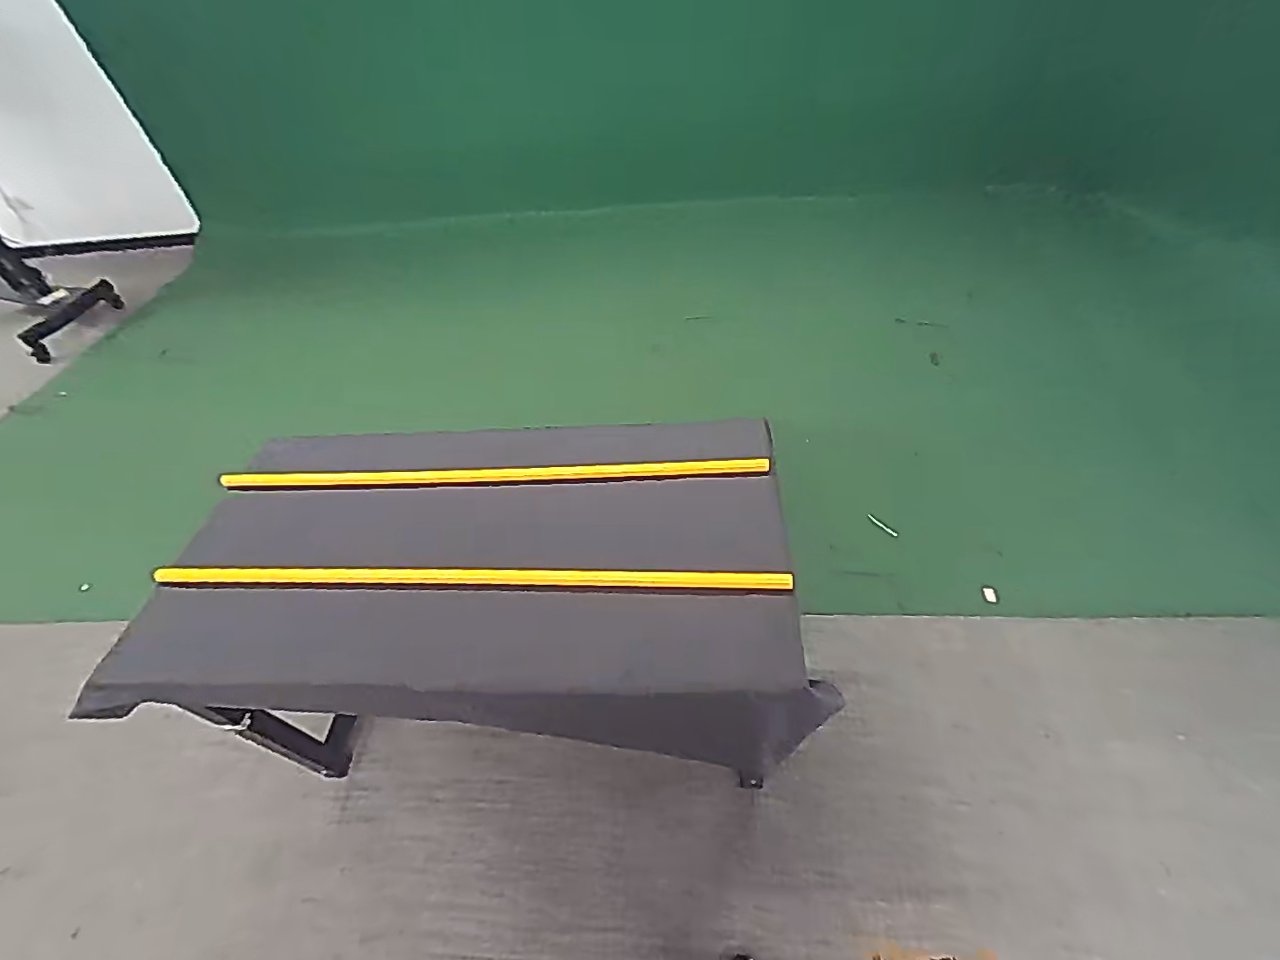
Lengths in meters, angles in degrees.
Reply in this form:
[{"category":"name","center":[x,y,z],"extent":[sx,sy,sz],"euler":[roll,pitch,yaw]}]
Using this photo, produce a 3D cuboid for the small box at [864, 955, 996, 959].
[{"category":"small box","center":[0.372,0.706,0.623],"extent":[0.168,0.179,0.176],"euler":[-13,90,17]}]
